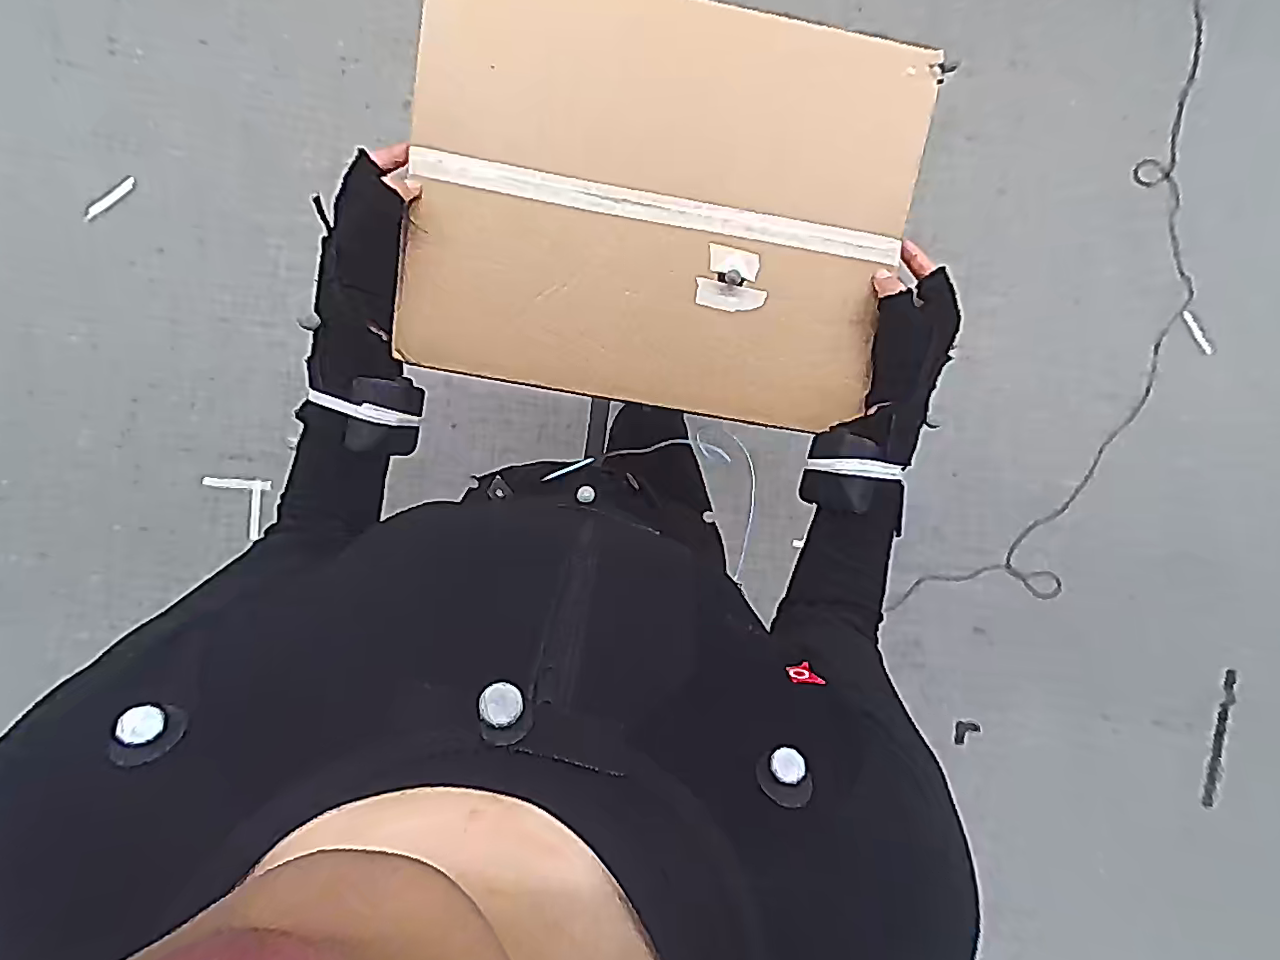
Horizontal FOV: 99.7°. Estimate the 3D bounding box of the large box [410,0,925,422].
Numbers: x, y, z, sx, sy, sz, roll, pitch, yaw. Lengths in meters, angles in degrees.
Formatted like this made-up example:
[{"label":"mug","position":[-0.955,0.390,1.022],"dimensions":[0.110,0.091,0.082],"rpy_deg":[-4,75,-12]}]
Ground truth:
[{"label":"large box","position":[0.010,-0.252,0.601],"dimensions":[0.408,0.320,0.320],"rpy_deg":[9,99,-5]}]
